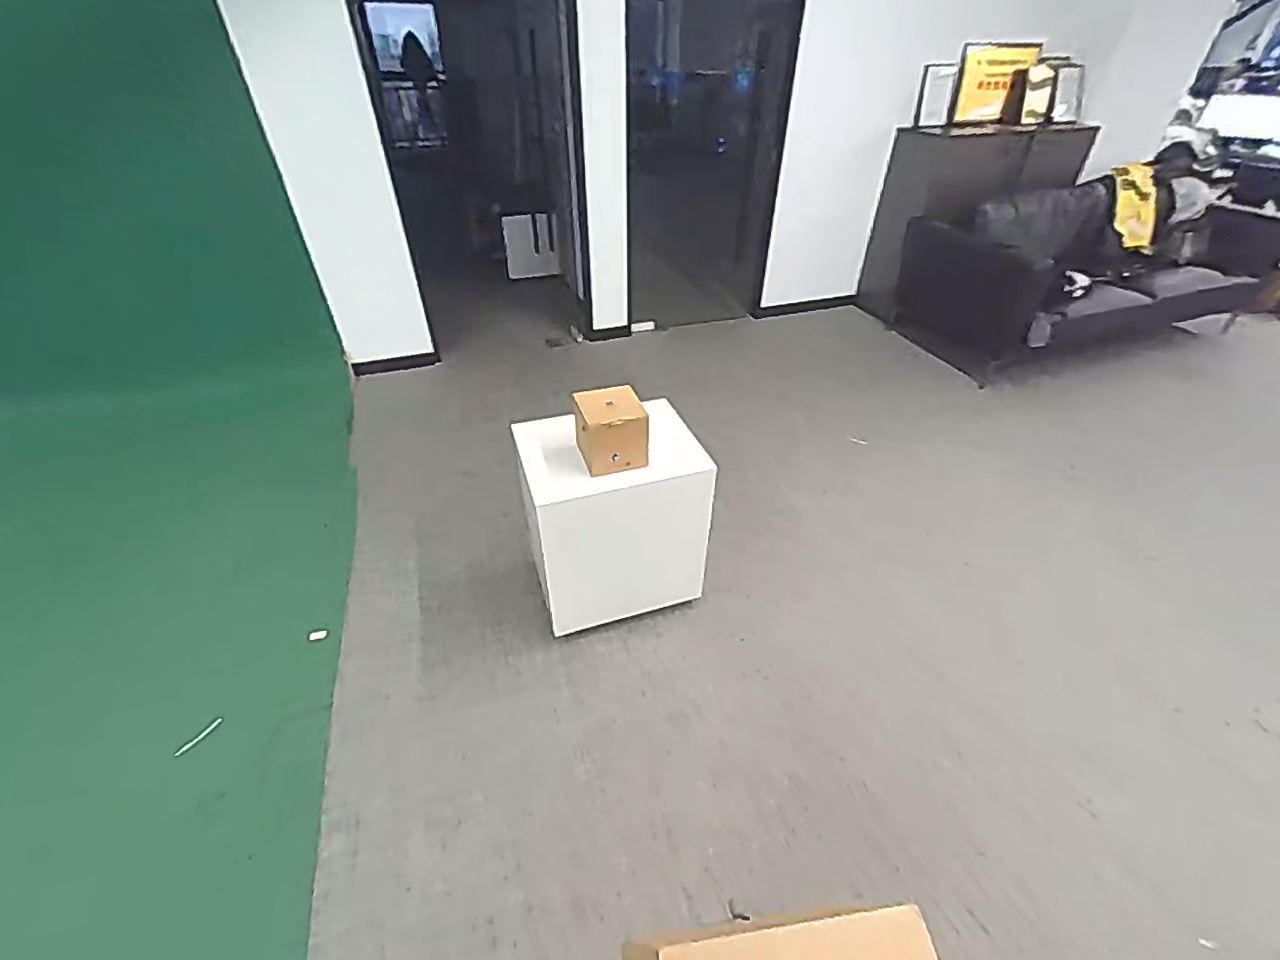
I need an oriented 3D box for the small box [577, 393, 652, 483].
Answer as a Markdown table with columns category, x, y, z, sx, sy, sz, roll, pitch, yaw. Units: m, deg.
| category | x | y | z | sx | sy | sz | roll | pitch | yaw |
| --- | --- | --- | --- | --- | --- | --- | --- | --- | --- |
| small box | -0.074 | -0.116 | 1.482 | 0.168 | 0.176 | 0.179 | -12 | 39 | -15 |
